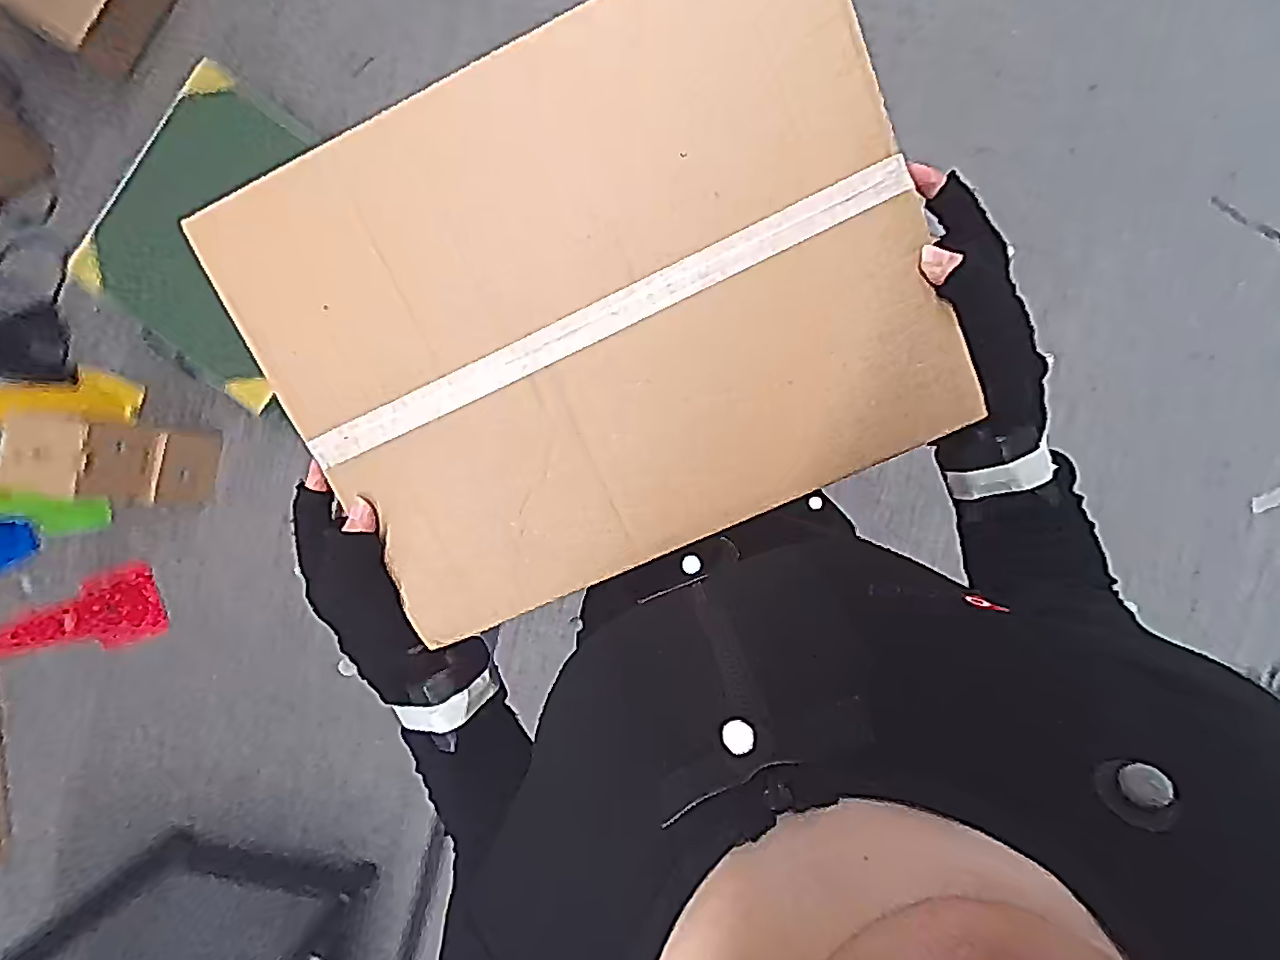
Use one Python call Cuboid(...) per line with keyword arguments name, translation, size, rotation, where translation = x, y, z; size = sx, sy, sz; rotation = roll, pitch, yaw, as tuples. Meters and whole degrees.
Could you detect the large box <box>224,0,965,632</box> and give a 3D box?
Cuboid(name="large box", translation=(-0.020, -0.132, 0.492), size=(0.408, 0.320, 0.320), rotation=(-22, 100, 6))
